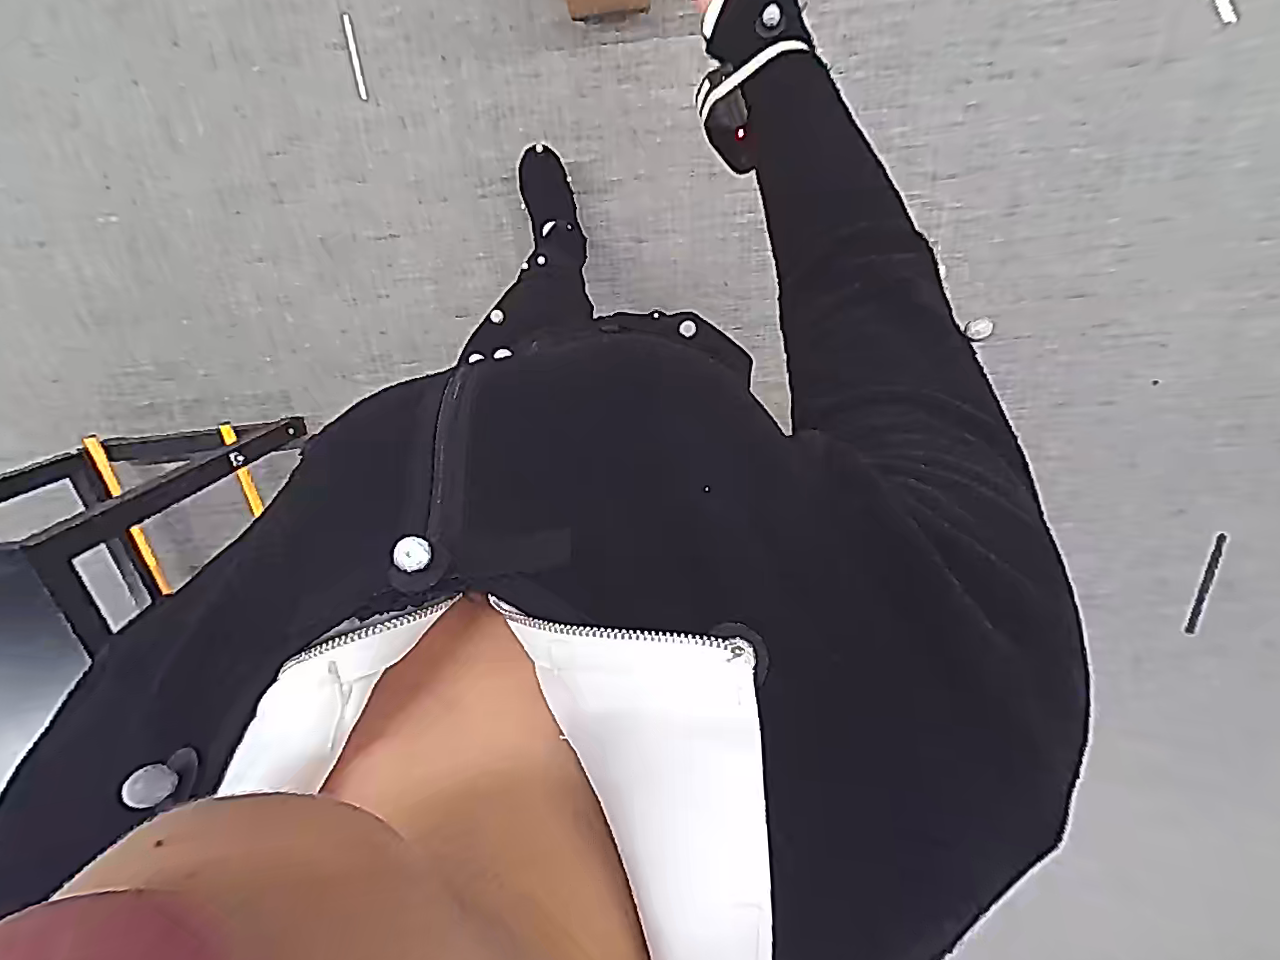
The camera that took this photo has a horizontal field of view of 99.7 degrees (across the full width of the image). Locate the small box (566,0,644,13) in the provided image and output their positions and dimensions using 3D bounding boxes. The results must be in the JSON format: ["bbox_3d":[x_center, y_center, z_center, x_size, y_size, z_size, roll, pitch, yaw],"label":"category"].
[{"bbox_3d":[-0.069,-1.026,1.026,0.179,0.176,0.168,-5,113,2],"label":"small box"}]
